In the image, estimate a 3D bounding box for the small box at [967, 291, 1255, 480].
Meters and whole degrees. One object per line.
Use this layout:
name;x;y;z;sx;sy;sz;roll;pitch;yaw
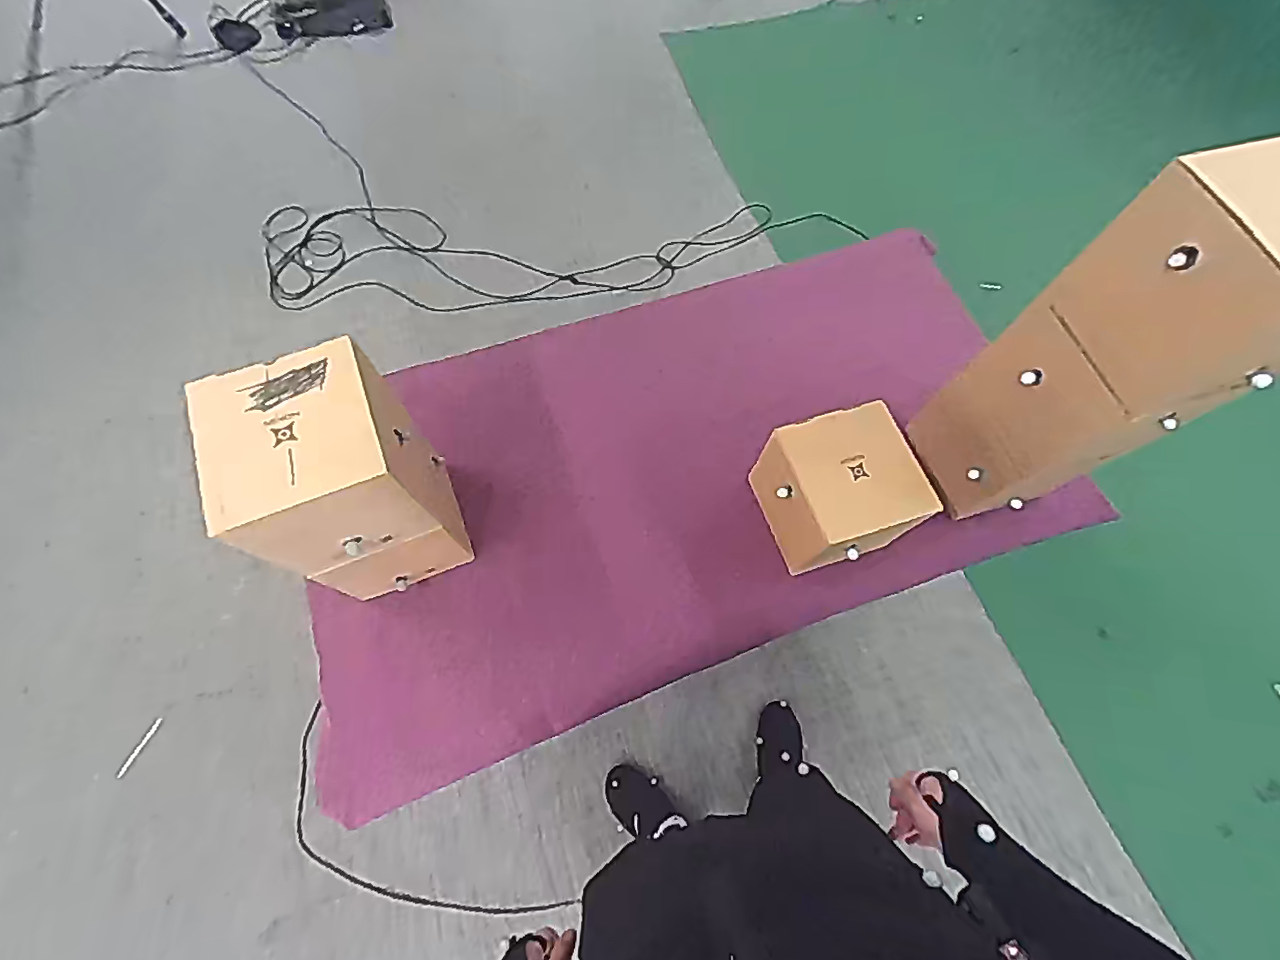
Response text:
small box;0.555;-0.124;0.672;0.168;0.176;0.179;-14;68;-6

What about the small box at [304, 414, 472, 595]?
small box;-0.353;0.041;0.755;0.168;0.176;0.179;-21;71;-10

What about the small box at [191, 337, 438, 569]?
small box;-0.348;-0.022;0.604;0.168;0.176;0.179;-21;71;-9

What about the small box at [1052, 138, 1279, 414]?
small box;0.559;-0.190;0.521;0.168;0.176;0.179;-13;69;-6

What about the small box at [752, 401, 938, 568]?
small box;0.281;0.017;0.786;0.168;0.176;0.179;-16;67;-8
